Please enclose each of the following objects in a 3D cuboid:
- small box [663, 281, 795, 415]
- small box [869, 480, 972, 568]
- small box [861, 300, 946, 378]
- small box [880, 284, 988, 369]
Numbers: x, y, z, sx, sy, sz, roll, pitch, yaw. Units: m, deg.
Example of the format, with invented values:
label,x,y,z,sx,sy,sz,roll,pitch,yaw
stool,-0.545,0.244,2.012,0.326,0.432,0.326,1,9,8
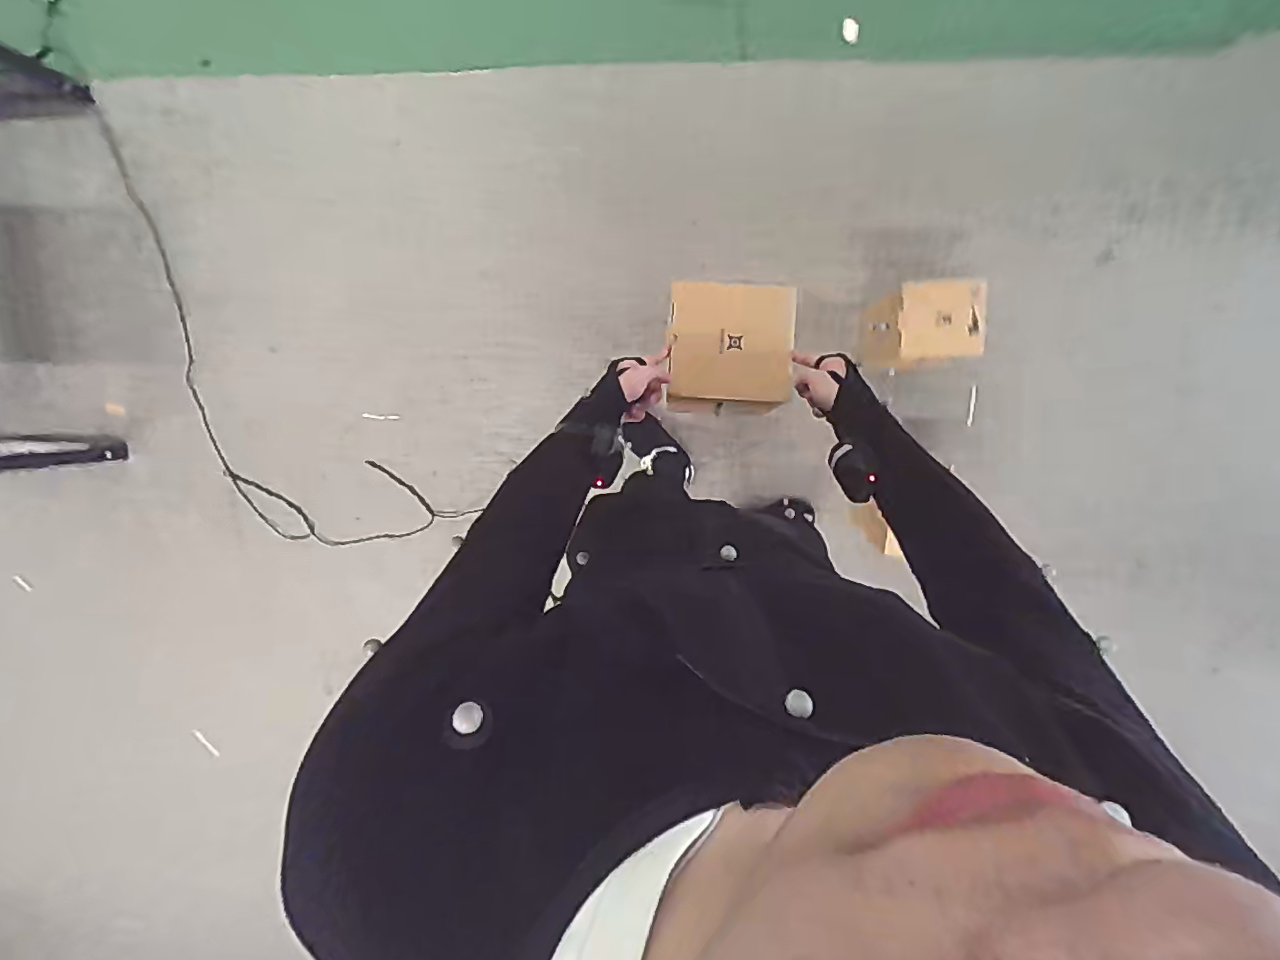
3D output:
label,x,y,z,sx,sy,sz,roll,pitch,yaw
small box,0.128,-0.194,0.836,0.179,0.176,0.168,2,89,2
small box,0.669,0.098,1.308,0.168,0.176,0.179,5,98,7
small box,0.690,-0.365,1.418,0.168,0.176,0.179,3,98,7
small box,0.672,-0.349,1.256,0.179,0.176,0.168,0,97,8
